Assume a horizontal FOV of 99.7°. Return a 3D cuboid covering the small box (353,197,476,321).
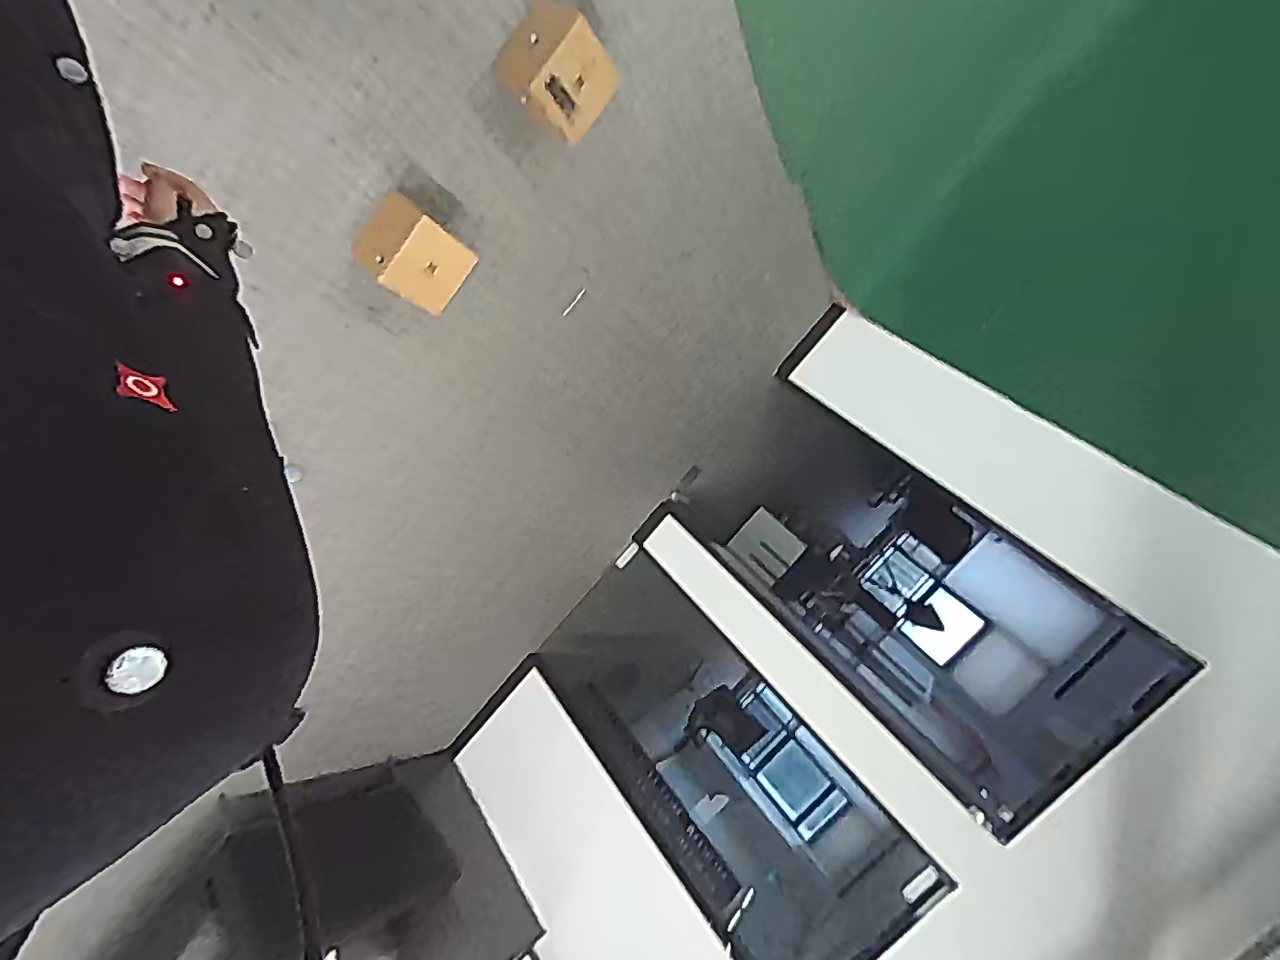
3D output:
[{"bbox_3d":[-0.523,-0.509,1.244,0.179,0.176,0.168,-50,151,9],"label":"small box"}]
